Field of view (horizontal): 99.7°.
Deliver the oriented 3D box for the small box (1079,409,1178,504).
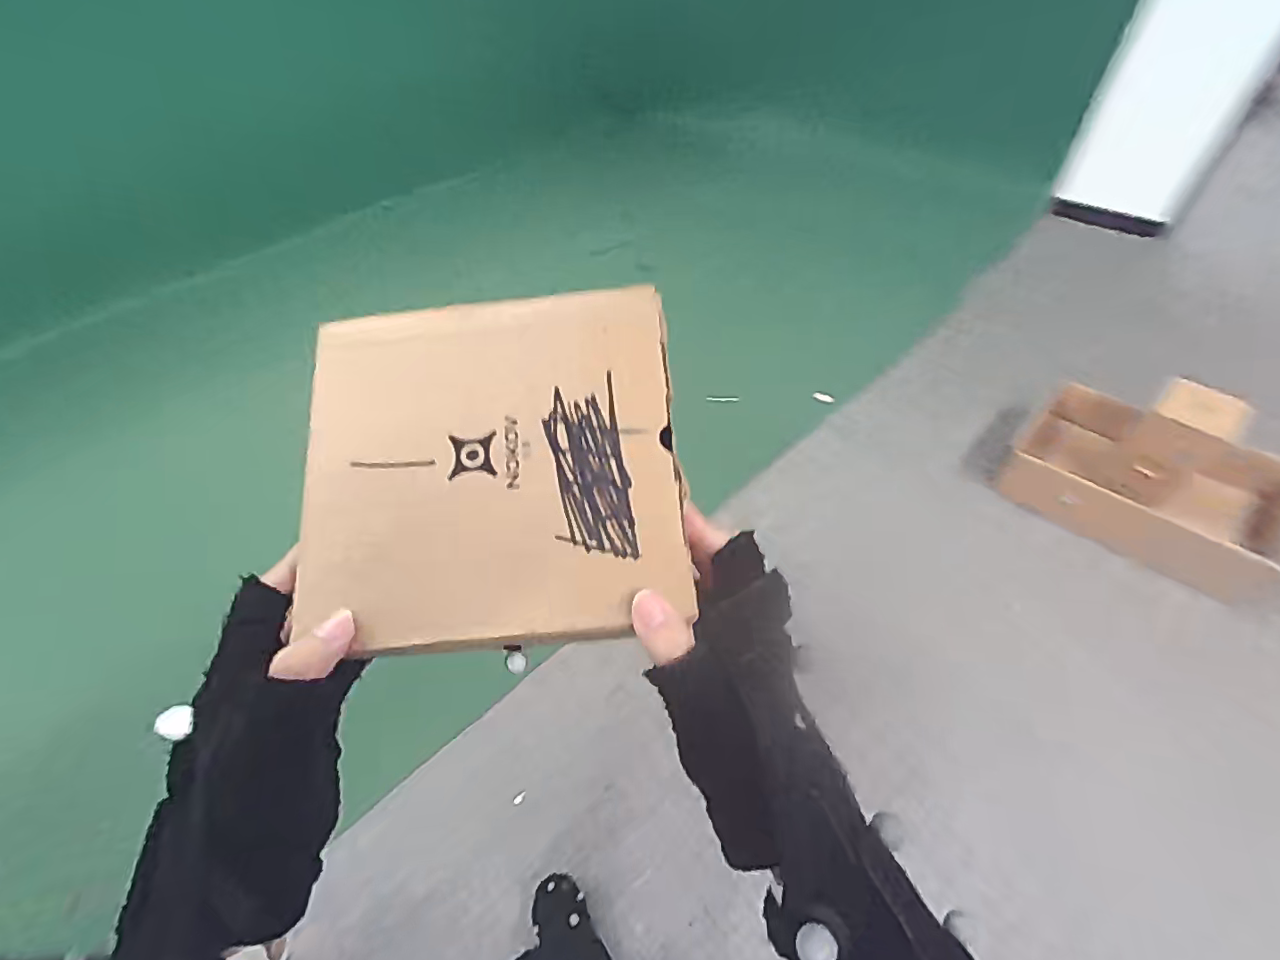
[{"bbox_3d":[1.408,-0.065,1.545,0.168,0.176,0.179,35,63,29],"label":"small box"}]
